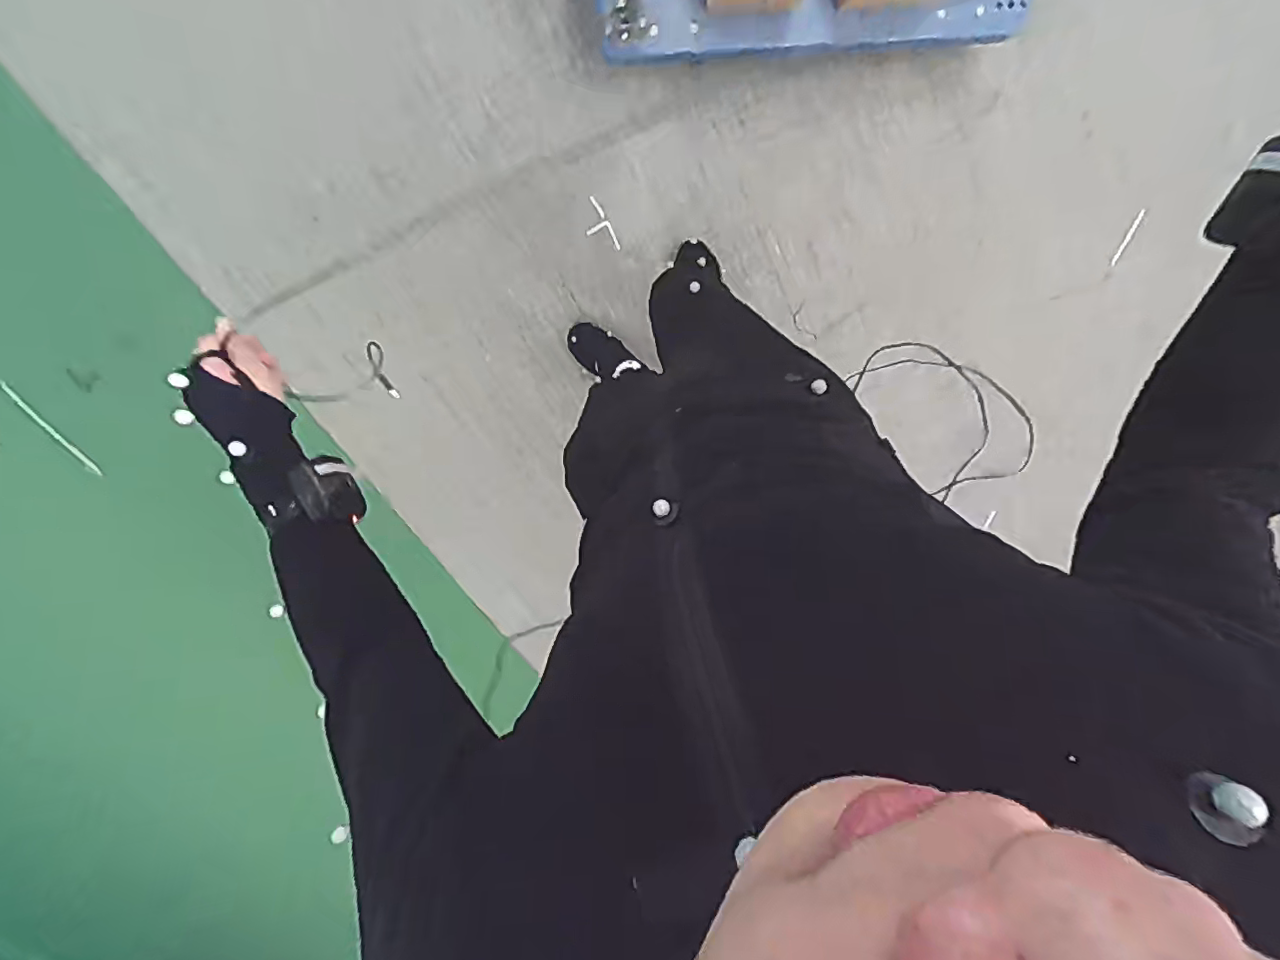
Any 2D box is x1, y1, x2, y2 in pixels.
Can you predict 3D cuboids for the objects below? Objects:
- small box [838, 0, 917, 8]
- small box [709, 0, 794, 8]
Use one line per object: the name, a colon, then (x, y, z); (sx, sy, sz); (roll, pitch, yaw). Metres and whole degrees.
small box: (0.471, -0.975, 0.959); (0.179, 0.176, 0.168); (-5, 114, 1)
small box: (0.222, -0.967, 0.954); (0.179, 0.176, 0.168); (-2, 115, -1)
